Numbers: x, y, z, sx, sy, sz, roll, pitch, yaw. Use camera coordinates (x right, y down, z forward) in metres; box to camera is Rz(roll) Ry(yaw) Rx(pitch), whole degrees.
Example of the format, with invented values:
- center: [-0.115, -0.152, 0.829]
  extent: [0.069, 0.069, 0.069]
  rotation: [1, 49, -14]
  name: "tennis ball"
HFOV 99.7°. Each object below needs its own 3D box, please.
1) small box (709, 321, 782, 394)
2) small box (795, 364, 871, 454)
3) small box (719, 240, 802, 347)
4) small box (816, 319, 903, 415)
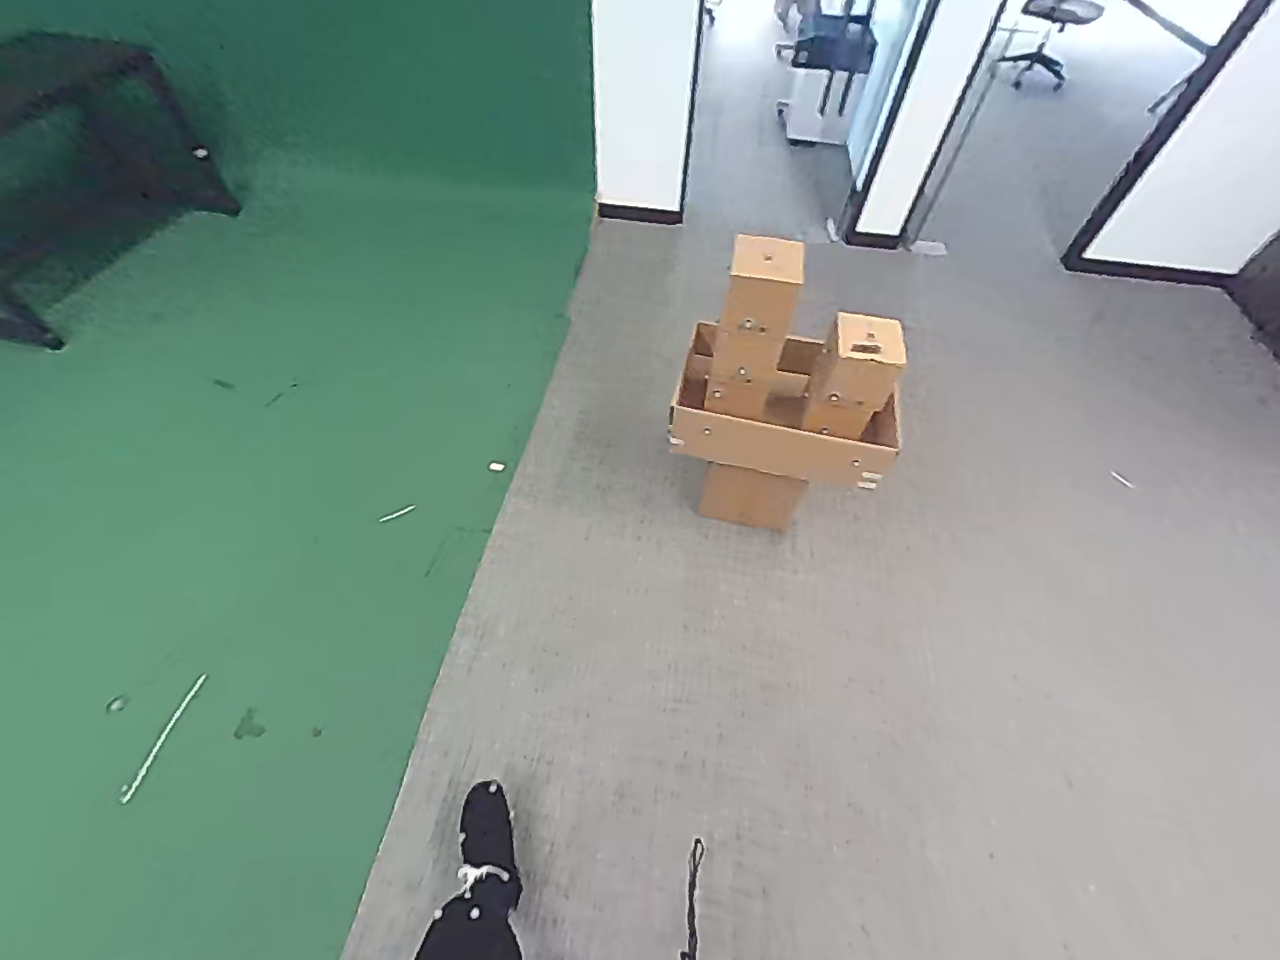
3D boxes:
- center: [0.285, -0.361, 1.462]
  extent: [0.168, 0.176, 0.179]
  rotation: [10, 54, 5]
  name: "small box"
- center: [0.558, -0.206, 1.569]
  extent: [0.168, 0.176, 0.179]
  rotation: [14, 55, 6]
  name: "small box"
- center: [0.293, -0.457, 1.330]
  extent: [0.168, 0.176, 0.179]
  rotation: [10, 53, 5]
  name: "small box"
- center: [0.572, -0.296, 1.432]
  extent: [0.168, 0.176, 0.179]
  rotation: [10, 54, 4]
  name: "small box"
